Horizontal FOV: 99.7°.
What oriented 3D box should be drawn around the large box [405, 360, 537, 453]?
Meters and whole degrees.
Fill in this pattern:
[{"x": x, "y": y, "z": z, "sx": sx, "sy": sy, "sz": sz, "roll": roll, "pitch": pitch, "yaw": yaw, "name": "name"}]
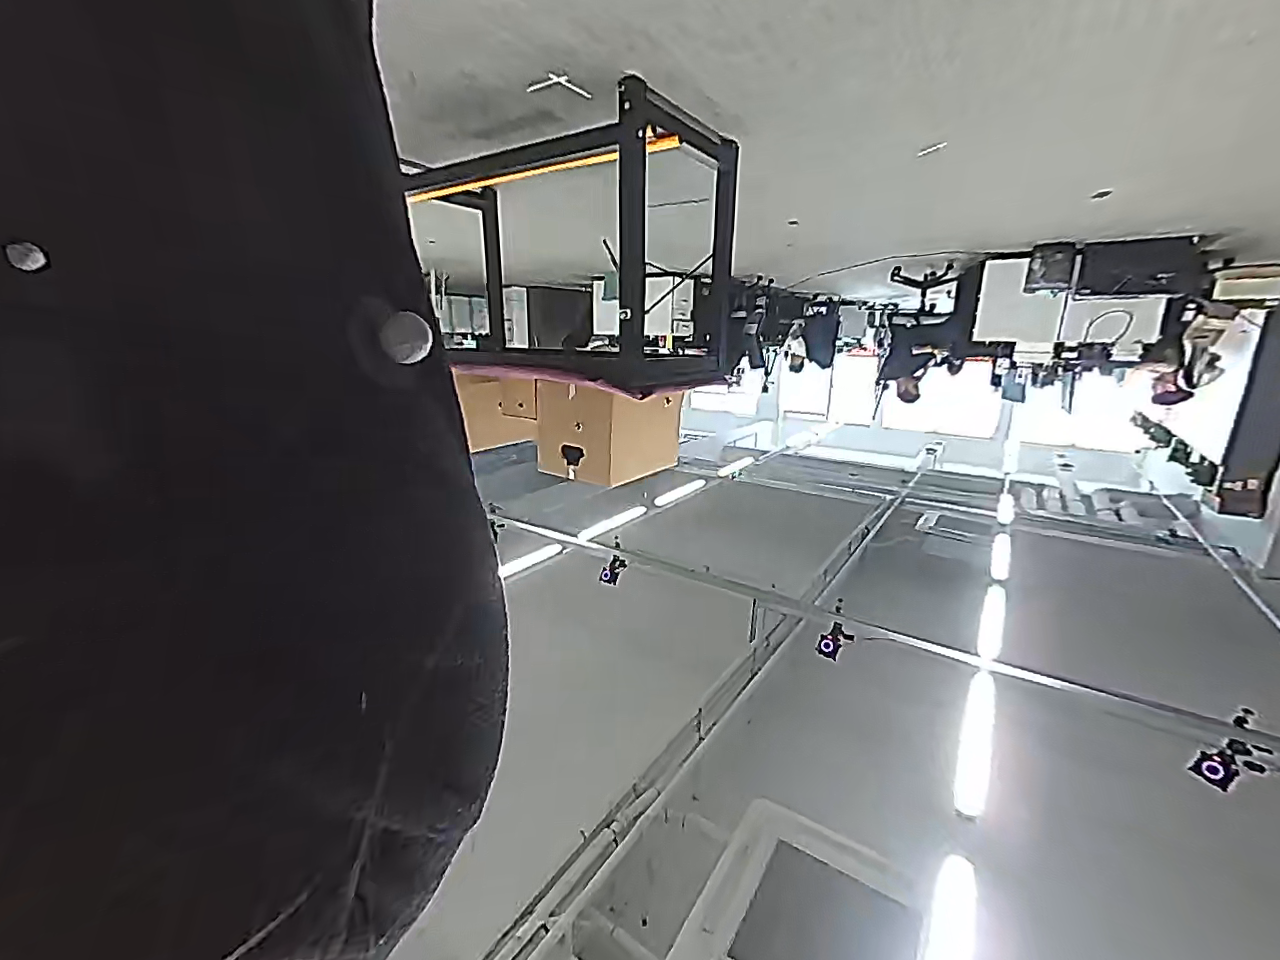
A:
[{"x": -0.677, "y": -0.314, "z": 2.201, "sx": 0.320, "sy": 0.320, "sz": 0.408, "roll": 12, "pitch": -160, "yaw": 32, "name": "large box"}]
